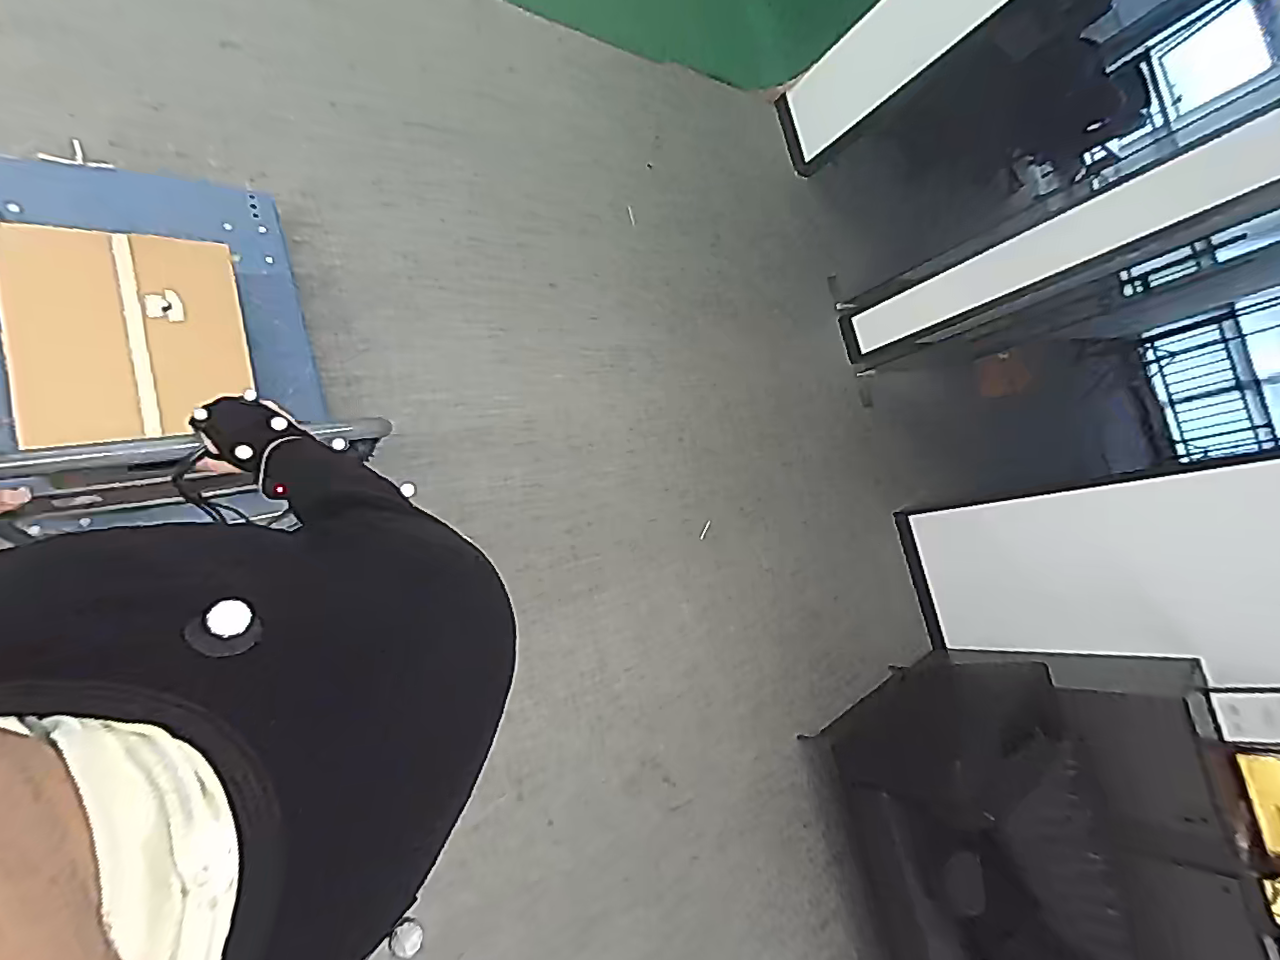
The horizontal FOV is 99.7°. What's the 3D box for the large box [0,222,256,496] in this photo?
[{"bbox_3d":[-0.972,-0.212,1.048,0.320,0.320,0.408,-10,84,-39],"label":"large box"}]
